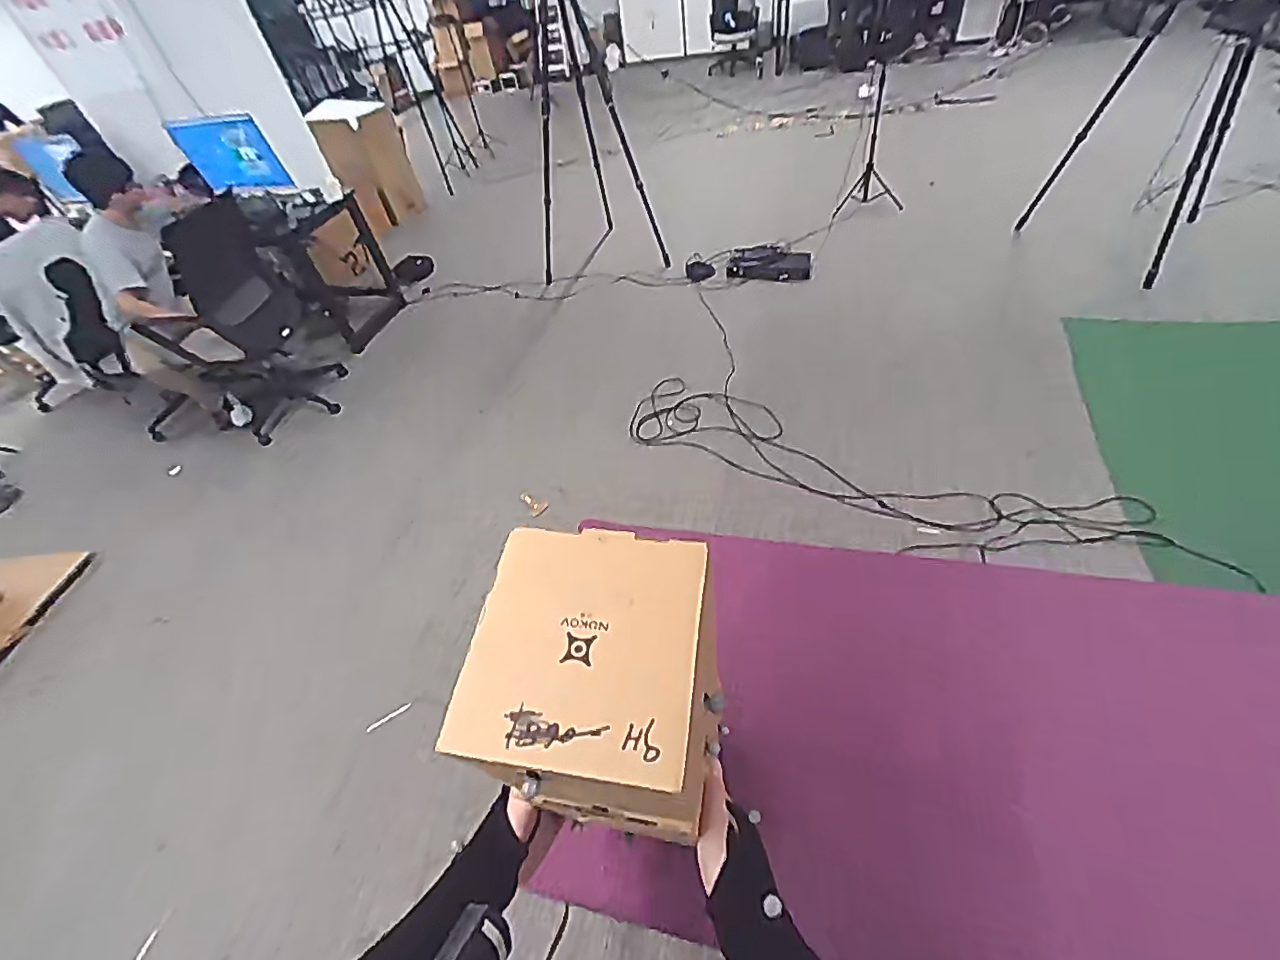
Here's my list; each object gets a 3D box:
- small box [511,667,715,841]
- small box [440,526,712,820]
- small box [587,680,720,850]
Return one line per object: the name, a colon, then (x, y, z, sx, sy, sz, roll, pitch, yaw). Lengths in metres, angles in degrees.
small box: (-0.011, 0.266, 0.577, 0.168, 0.176, 0.179, 4, 53, 13)
small box: (-0.030, 0.161, 0.453, 0.168, 0.176, 0.179, 3, 53, 12)
small box: (0.013, 0.361, 0.709, 0.168, 0.176, 0.179, 4, 54, 13)
